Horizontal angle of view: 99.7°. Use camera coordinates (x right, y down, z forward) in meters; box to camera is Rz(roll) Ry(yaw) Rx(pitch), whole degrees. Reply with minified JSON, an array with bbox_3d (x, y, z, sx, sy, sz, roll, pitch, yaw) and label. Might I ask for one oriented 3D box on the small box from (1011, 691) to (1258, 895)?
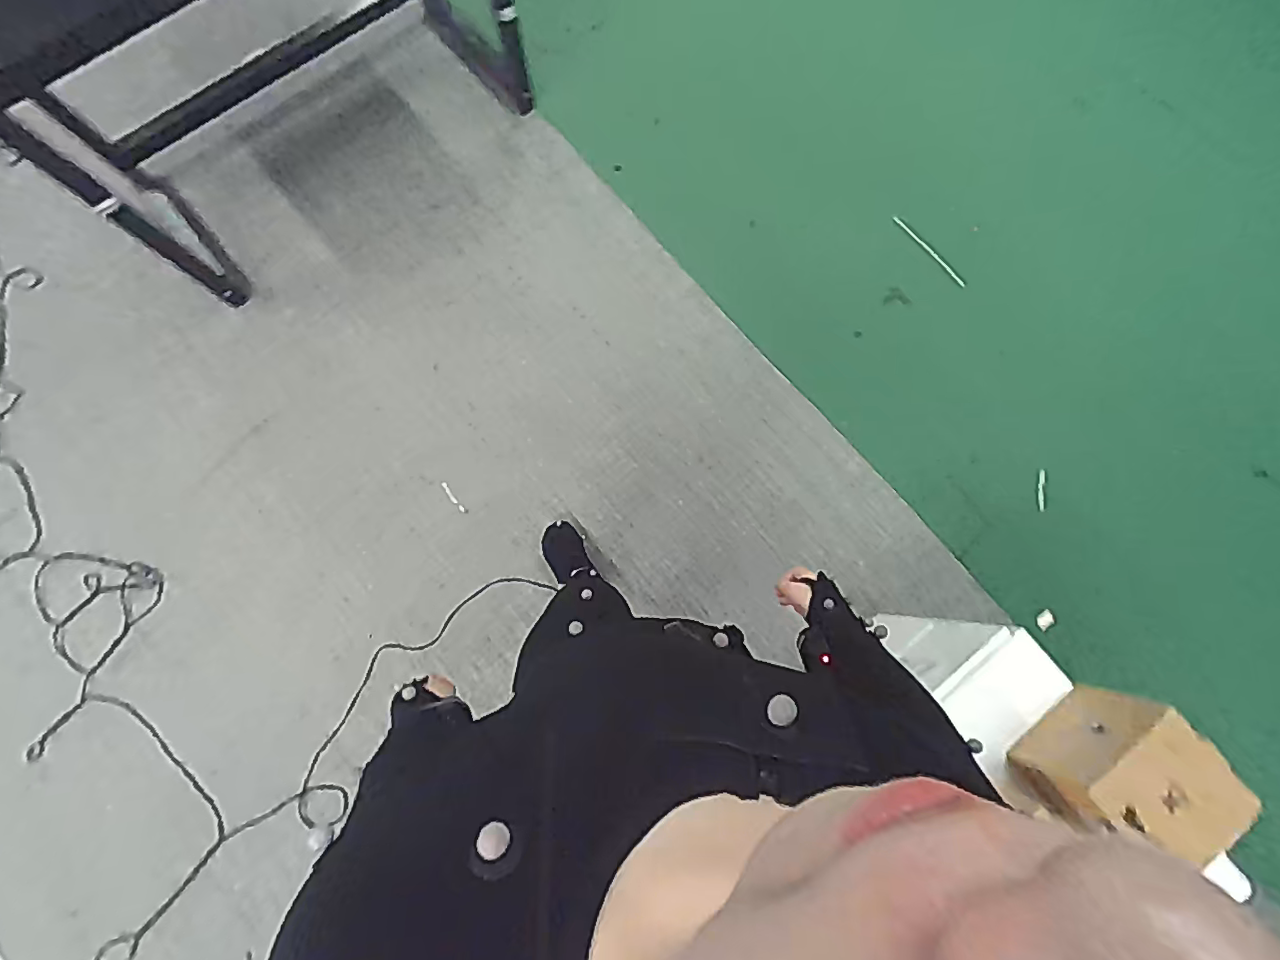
[{"bbox_3d":[0.709,0.440,0.798,0.179,0.176,0.168,-38,81,-8],"label":"small box"}]
